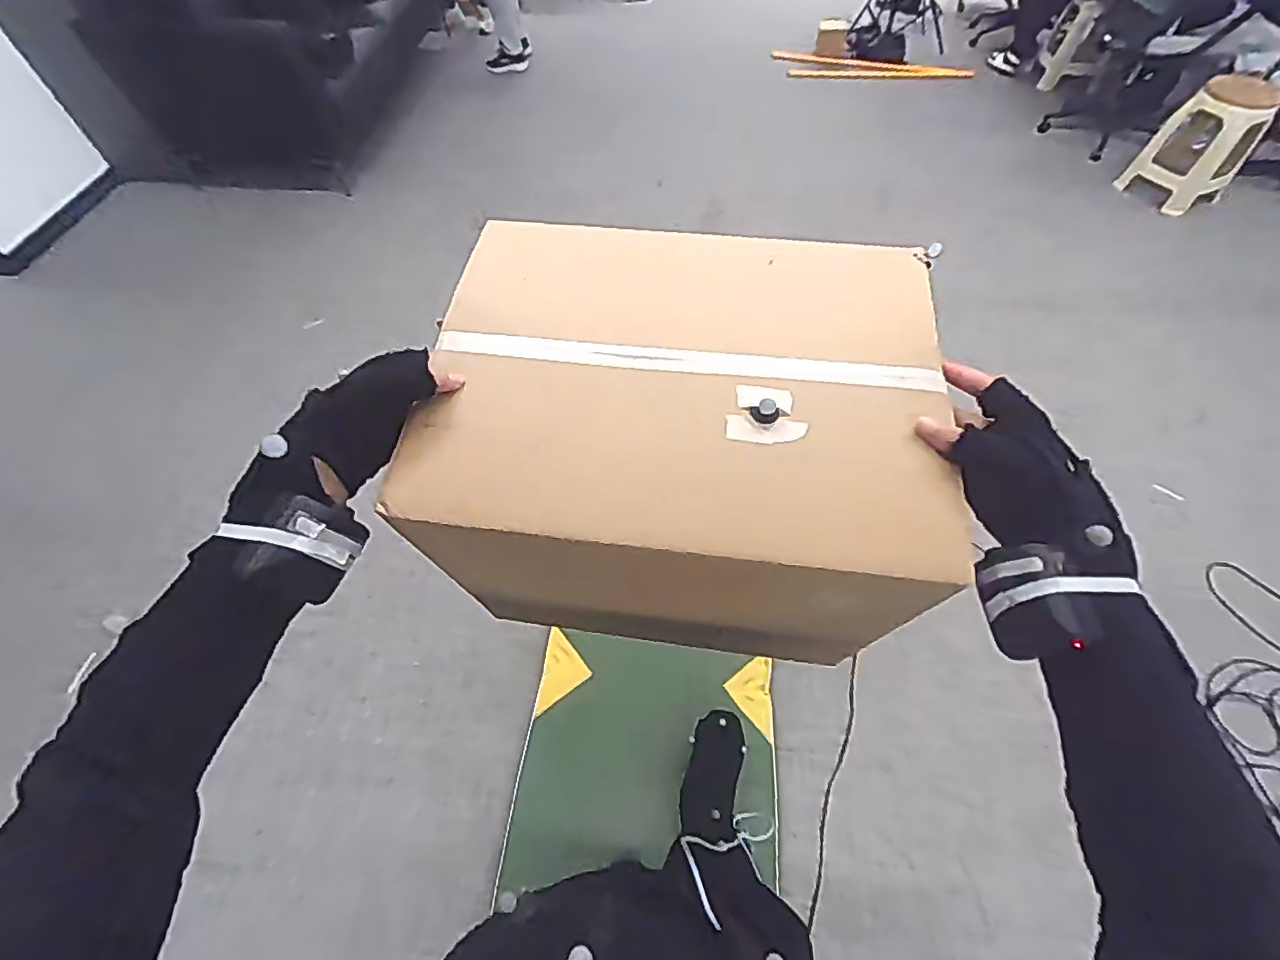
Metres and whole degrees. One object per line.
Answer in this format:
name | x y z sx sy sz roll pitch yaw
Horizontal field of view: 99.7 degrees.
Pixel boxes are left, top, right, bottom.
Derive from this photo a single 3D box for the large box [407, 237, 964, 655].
large box | 0.043 -0.018 0.579 0.408 0.320 0.320 6 63 4
